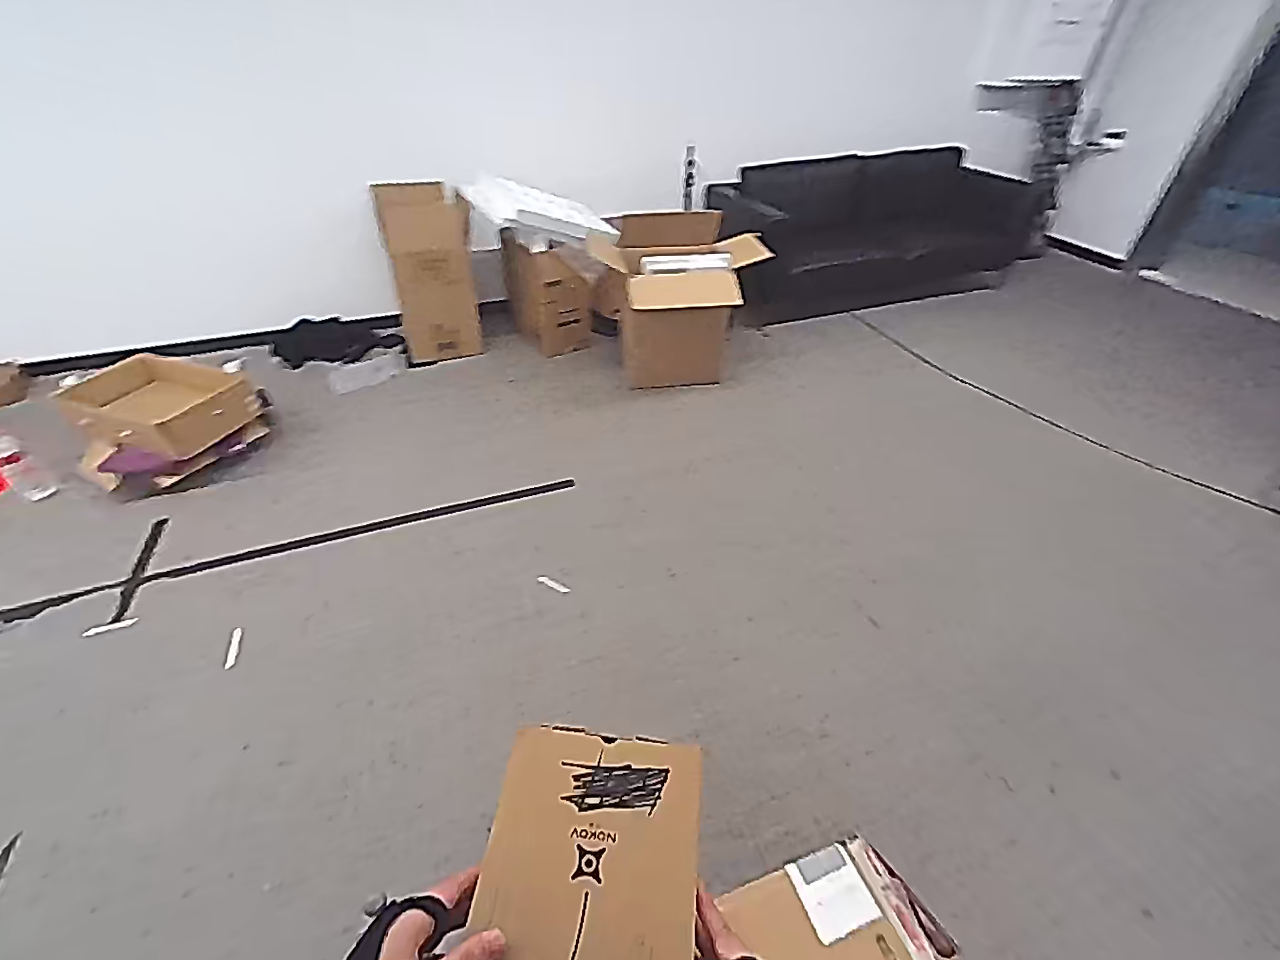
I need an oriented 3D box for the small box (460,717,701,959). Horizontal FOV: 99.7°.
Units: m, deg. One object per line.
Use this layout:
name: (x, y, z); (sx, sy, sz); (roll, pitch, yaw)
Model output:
small box: (-0.038, 0.339, 0.482); (0.168, 0.176, 0.179); (5, 46, 3)
